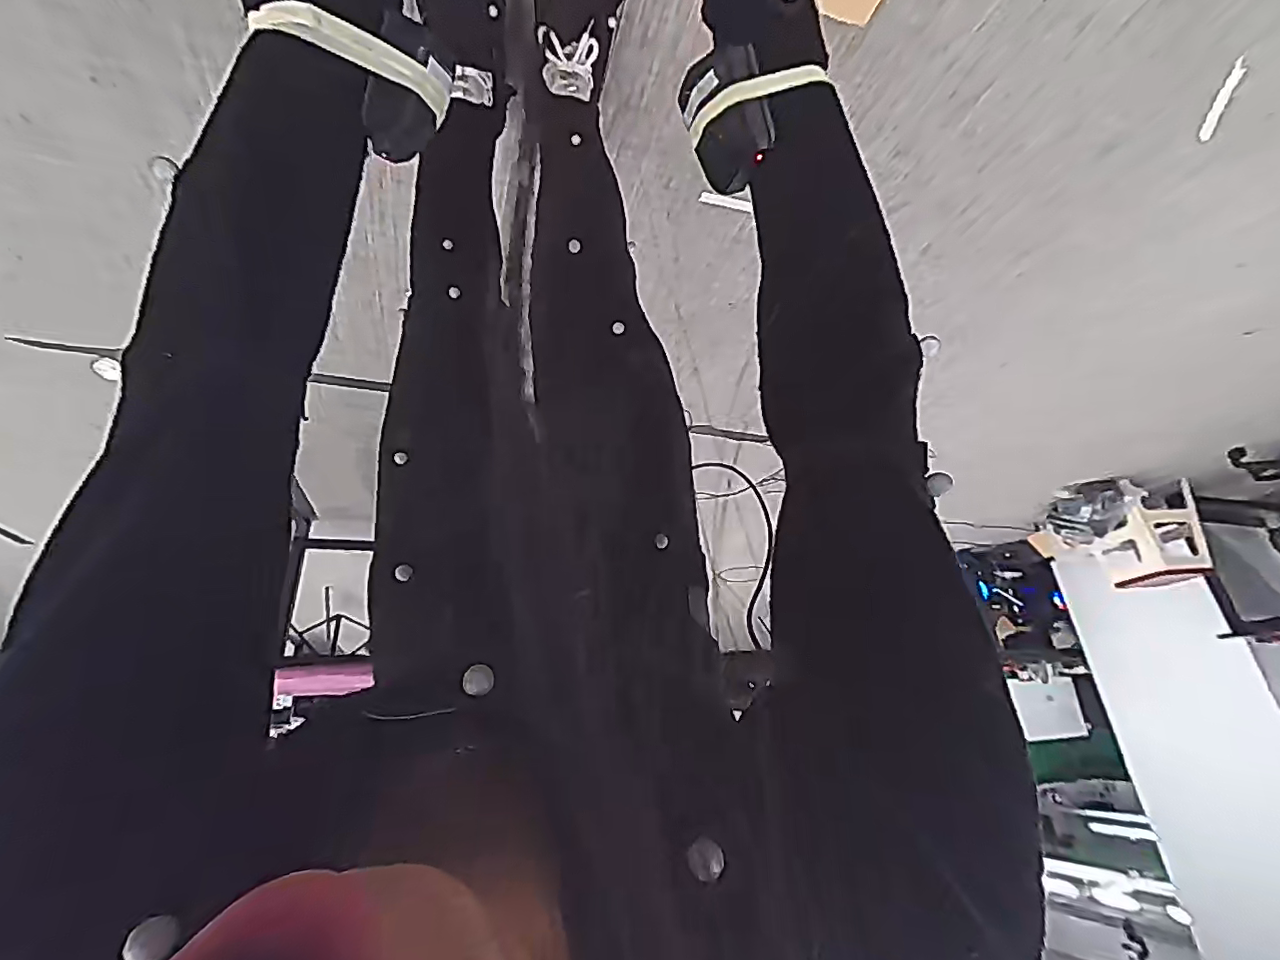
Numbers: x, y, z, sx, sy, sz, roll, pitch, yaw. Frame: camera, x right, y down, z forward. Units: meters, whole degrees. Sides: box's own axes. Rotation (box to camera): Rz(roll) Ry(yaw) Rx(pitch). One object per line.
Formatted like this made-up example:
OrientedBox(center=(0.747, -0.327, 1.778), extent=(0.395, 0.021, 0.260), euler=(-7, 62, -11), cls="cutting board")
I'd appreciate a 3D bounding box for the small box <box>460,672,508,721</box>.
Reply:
OrientedBox(center=(-0.622, 0.863, 2.157), extent=(0.168, 0.176, 0.179), euler=(5, 155, -21), cls="small box")
